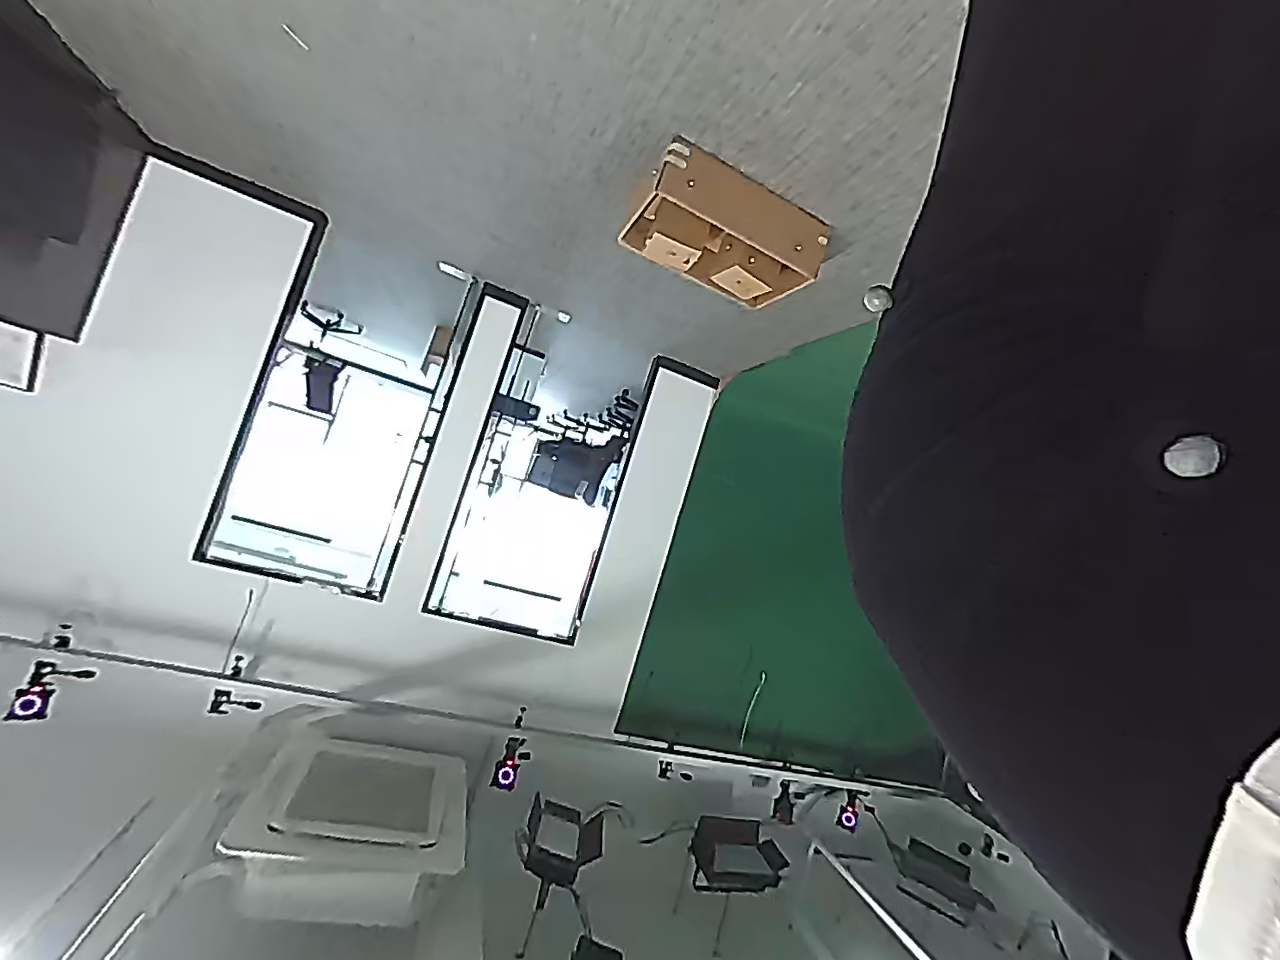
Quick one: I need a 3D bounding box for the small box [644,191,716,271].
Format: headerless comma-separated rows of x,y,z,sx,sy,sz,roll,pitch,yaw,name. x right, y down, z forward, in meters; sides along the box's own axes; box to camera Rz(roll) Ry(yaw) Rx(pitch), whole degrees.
0.136,-0.855,1.852,0.179,0.176,0.168,18,175,-14,small box
